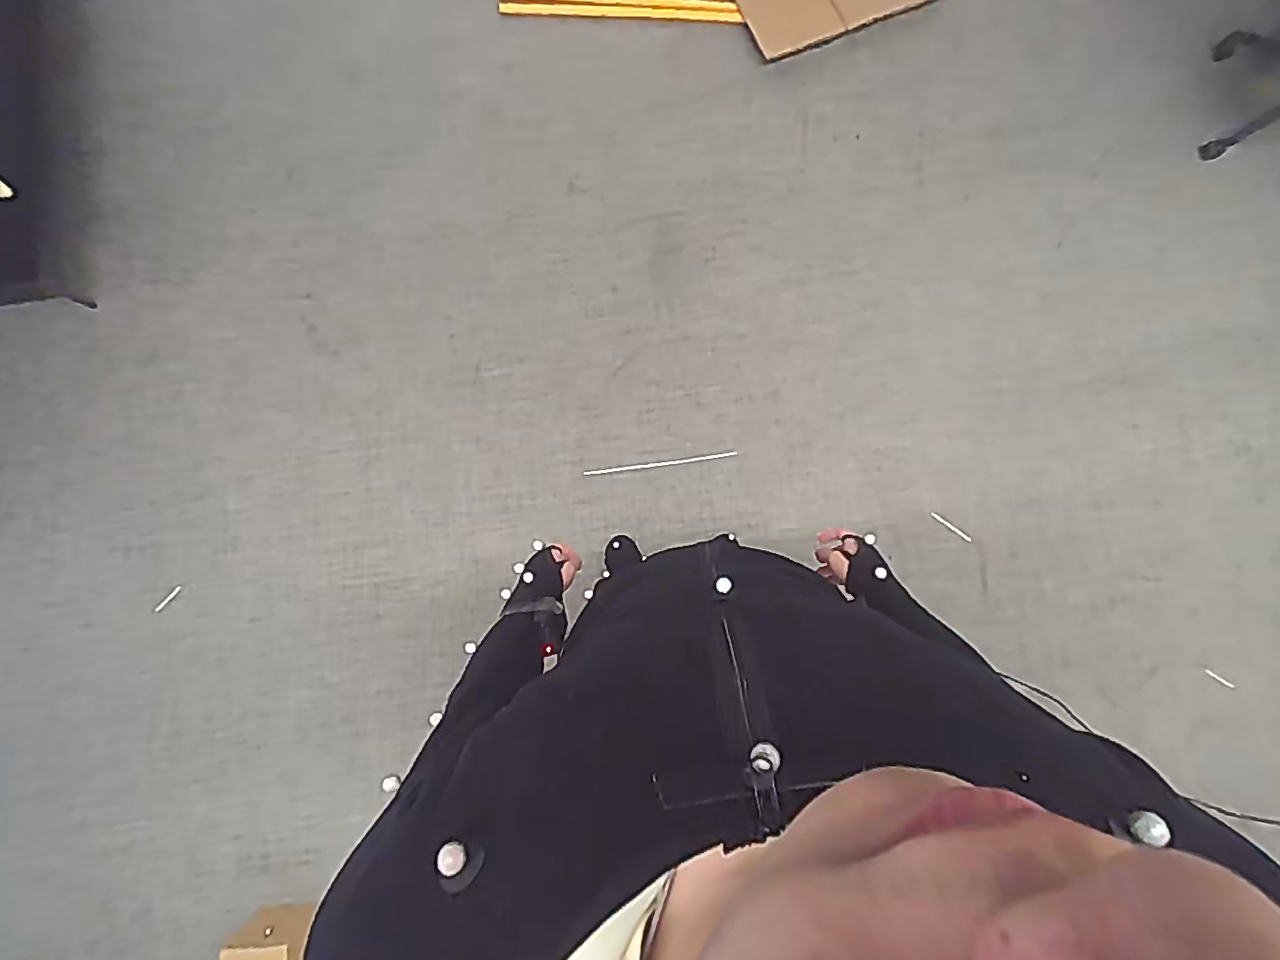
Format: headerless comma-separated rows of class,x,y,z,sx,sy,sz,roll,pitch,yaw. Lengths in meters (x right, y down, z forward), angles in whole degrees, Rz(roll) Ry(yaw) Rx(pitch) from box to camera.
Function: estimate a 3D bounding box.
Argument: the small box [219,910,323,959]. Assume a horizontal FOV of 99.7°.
small box,-0.970,1.282,1.433,0.179,0.176,0.168,-4,83,0
